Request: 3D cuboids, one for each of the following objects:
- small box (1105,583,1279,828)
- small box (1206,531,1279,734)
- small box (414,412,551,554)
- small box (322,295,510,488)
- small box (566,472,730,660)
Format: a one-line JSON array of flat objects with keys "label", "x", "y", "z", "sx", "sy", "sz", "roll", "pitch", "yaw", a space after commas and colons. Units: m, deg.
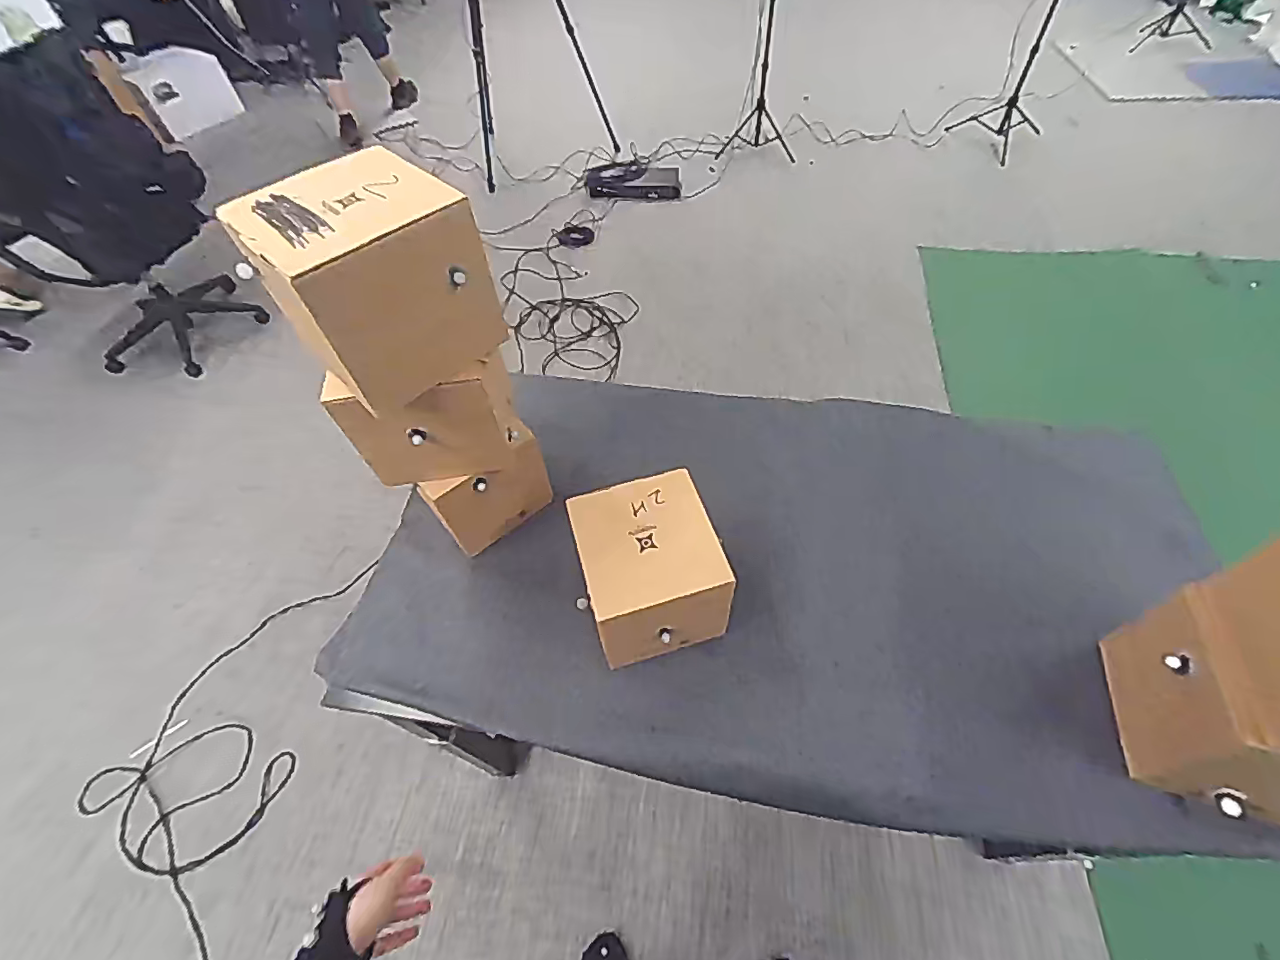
[{"label": "small box", "x": 0.647, "y": 0.242, "z": 0.577, "sx": 0.168, "sy": 0.176, "sz": 0.179, "roll": 11, "pitch": 52, "yaw": 14}, {"label": "small box", "x": 0.651, "y": 0.139, "z": 0.451, "sx": 0.168, "sy": 0.176, "sz": 0.179, "roll": 10, "pitch": 50, "yaw": 13}, {"label": "small box", "x": -0.262, "y": -0.017, "z": 0.841, "sx": 0.168, "sy": 0.176, "sz": 0.179, "roll": -36, "pitch": 60, "yaw": -20}, {"label": "small box", "x": -0.272, "y": -0.111, "z": 0.705, "sx": 0.179, "sy": 0.176, "sz": 0.168, "roll": -10, "pitch": 55, "yaw": -3}, {"label": "small box", "x": 0.009, "y": 0.121, "z": 0.718, "sx": 0.168, "sy": 0.176, "sz": 0.179, "roll": -15, "pitch": 54, "yaw": -8}]
